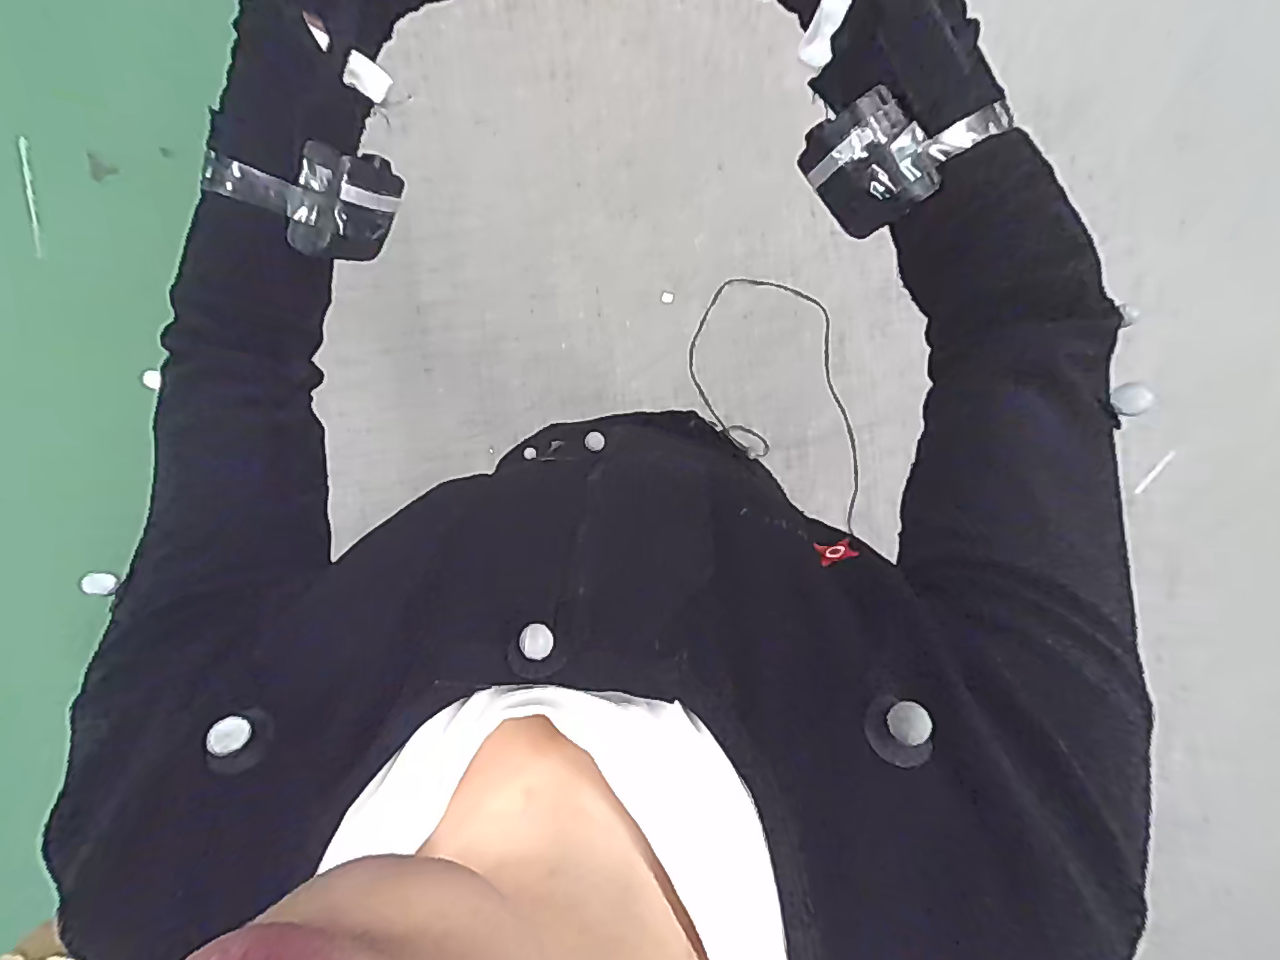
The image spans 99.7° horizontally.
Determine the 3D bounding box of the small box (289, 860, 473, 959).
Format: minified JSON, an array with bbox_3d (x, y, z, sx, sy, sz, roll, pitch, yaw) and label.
[{"bbox_3d":[-0.336,0.643,0.720,0.168,0.176,0.179,-4,96,3],"label":"small box"}]
